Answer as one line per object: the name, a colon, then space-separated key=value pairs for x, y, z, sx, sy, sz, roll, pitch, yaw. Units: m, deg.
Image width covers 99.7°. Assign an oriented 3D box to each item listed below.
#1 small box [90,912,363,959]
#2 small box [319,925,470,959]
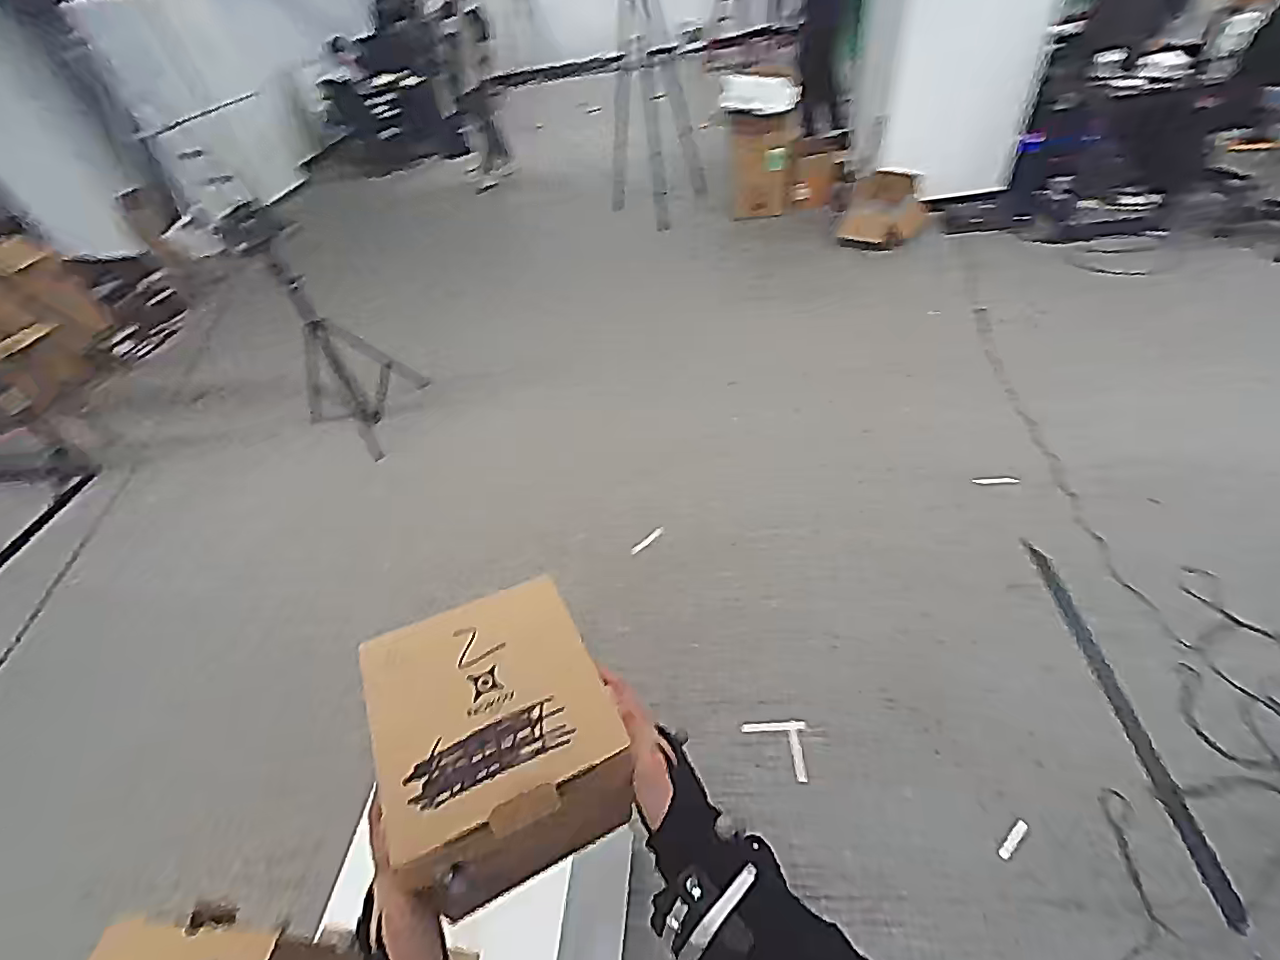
small box: x=-0.373 y=0.495 z=0.458 sx=0.168 sy=0.176 sz=0.179 roll=-1 pitch=45 yaw=9
small box: x=-0.341 y=0.711 z=0.702 sx=0.168 sy=0.176 sz=0.179 roll=-1 pitch=44 yaw=10
